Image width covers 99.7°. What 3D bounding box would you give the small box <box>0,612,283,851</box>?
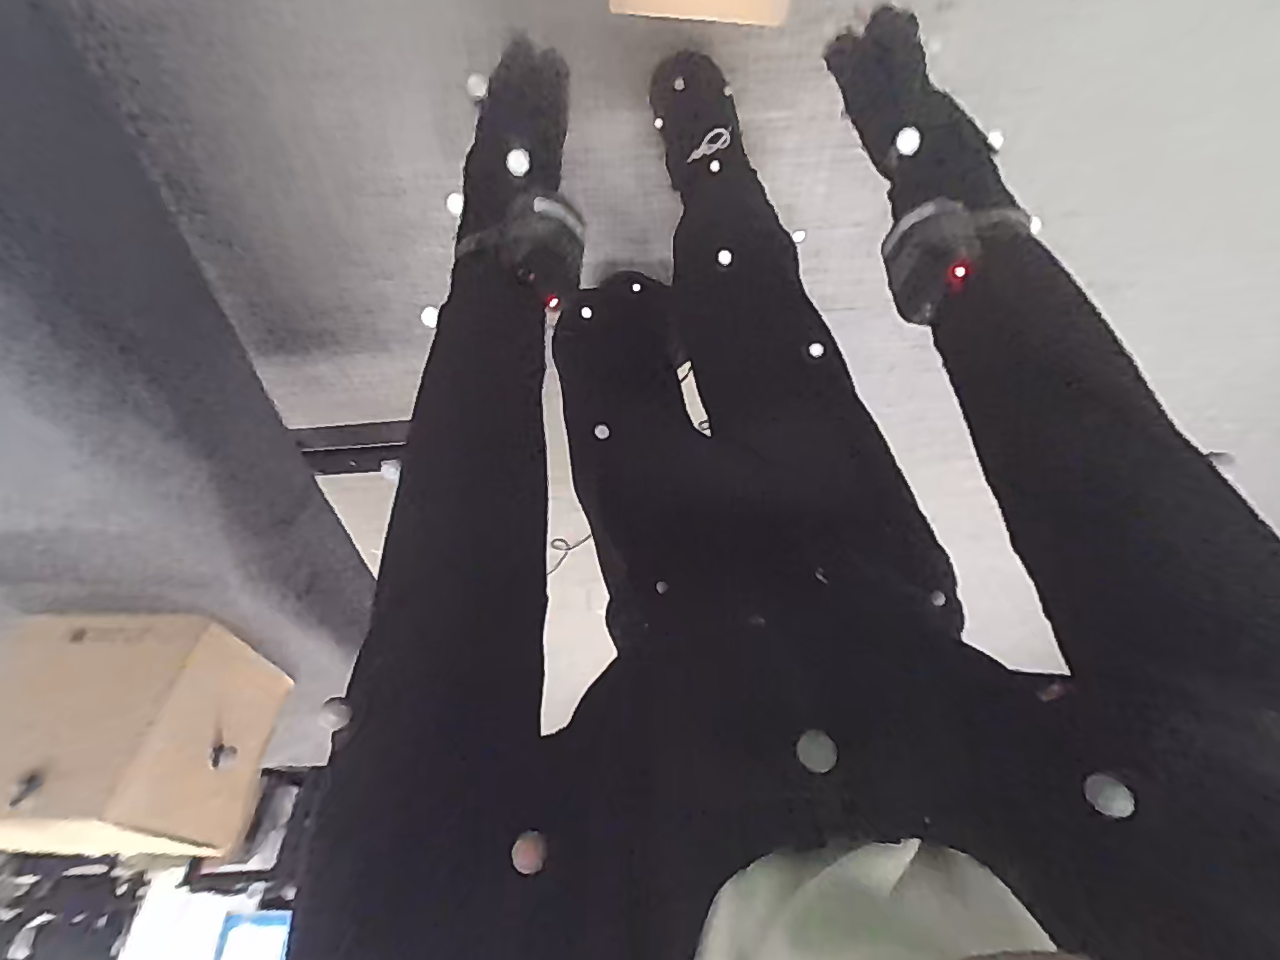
[{"bbox_3d":[-0.483,0.239,0.508,0.168,0.176,0.179,0,140,-1],"label":"small box"}]
